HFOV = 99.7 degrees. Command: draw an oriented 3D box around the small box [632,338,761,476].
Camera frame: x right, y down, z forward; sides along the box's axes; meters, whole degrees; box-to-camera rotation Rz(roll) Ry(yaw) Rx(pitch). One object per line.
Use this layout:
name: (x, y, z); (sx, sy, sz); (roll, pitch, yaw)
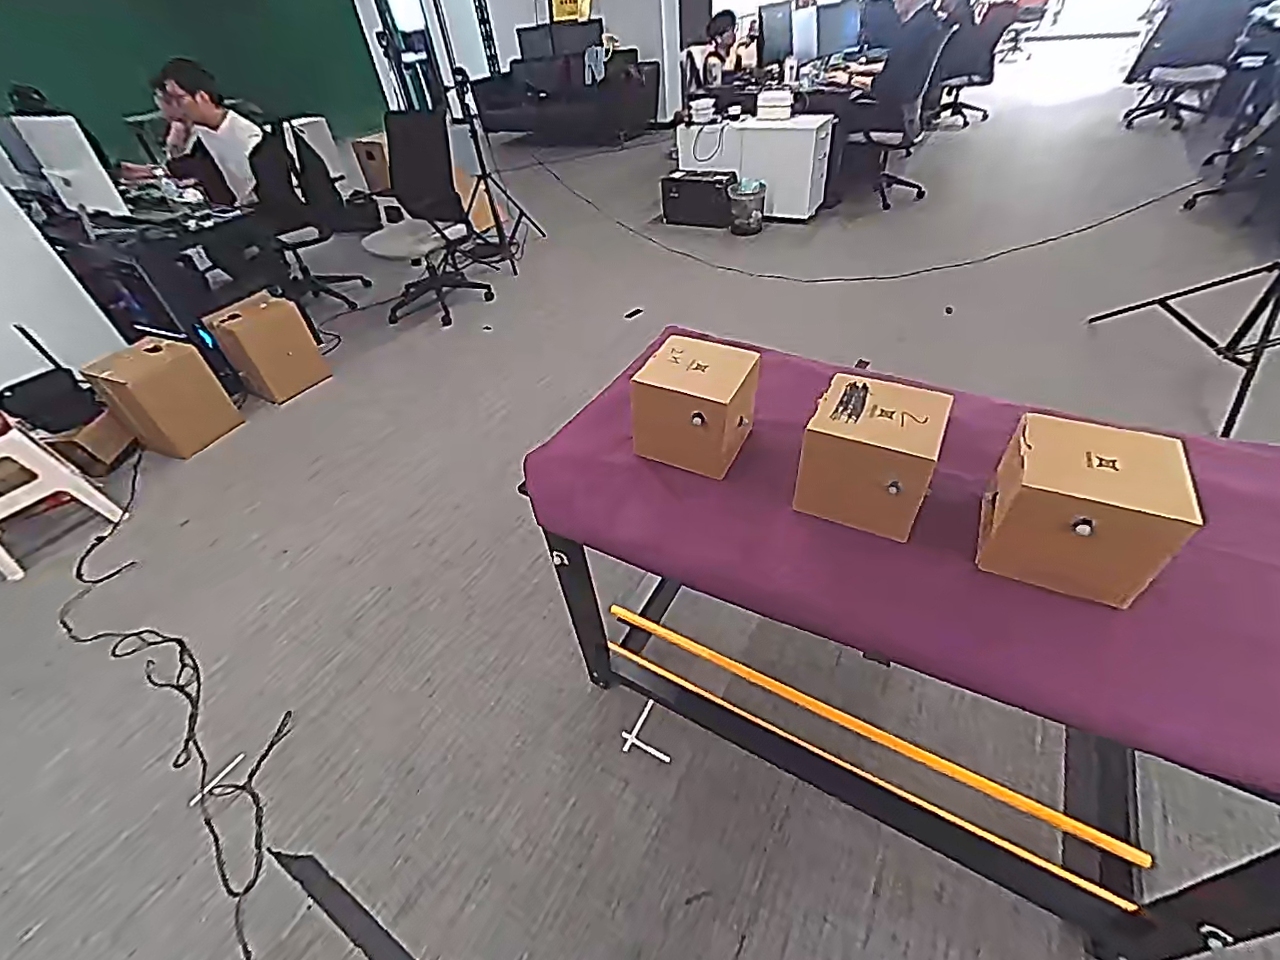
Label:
small box: (0.103, -0.130, 0.980); (0.179, 0.176, 0.168); (18, 47, 22)

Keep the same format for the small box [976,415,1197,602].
small box: (0.588, 0.040, 0.736); (0.179, 0.176, 0.168); (16, 47, 24)
